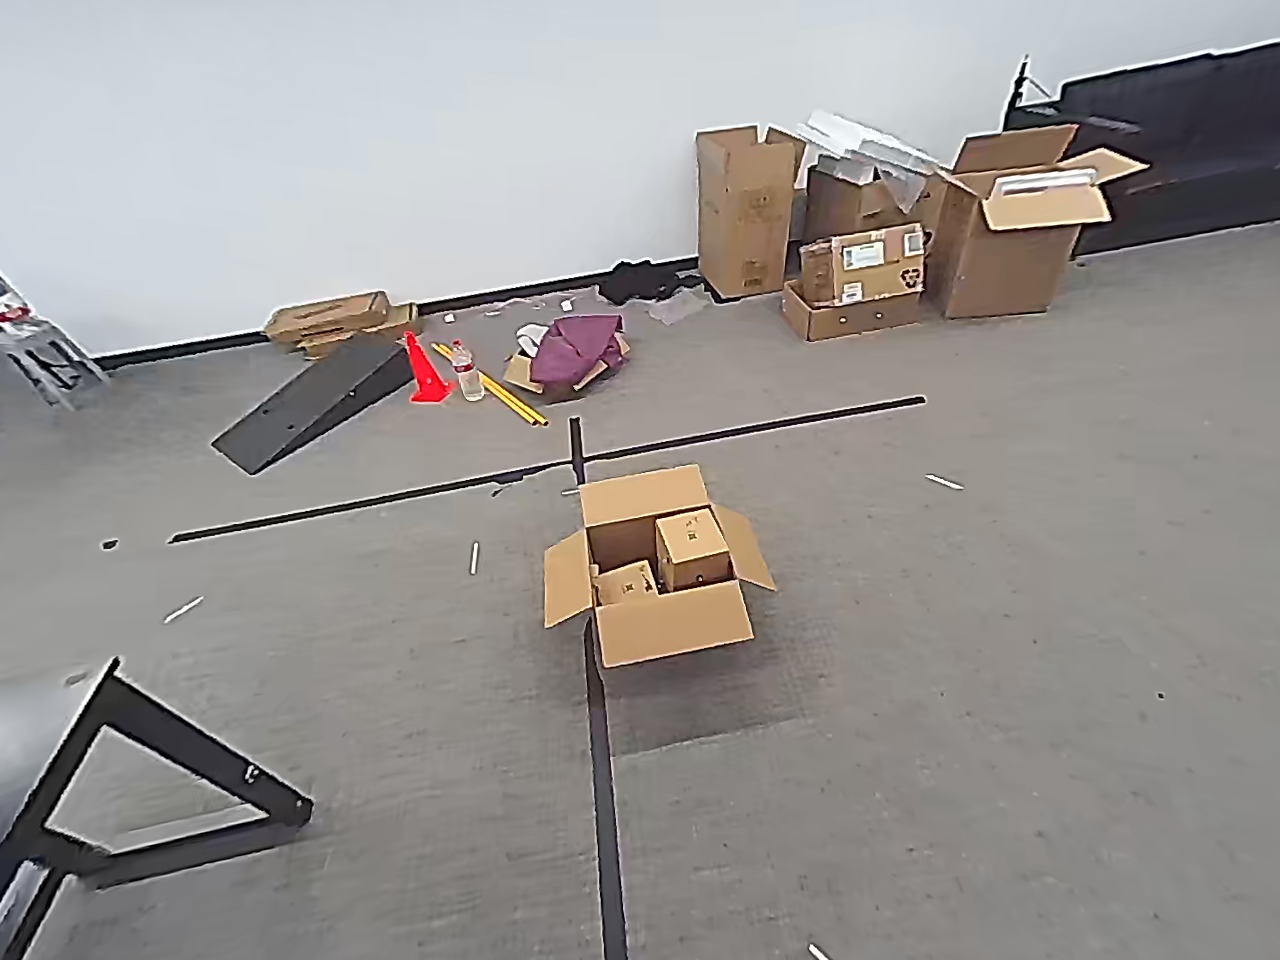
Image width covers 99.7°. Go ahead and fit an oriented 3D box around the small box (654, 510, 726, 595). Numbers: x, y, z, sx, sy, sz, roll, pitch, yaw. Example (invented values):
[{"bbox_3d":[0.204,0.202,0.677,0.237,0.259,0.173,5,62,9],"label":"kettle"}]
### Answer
[{"bbox_3d":[0.145,0.219,1.598,0.168,0.176,0.179,-12,42,-10],"label":"small box"}]
